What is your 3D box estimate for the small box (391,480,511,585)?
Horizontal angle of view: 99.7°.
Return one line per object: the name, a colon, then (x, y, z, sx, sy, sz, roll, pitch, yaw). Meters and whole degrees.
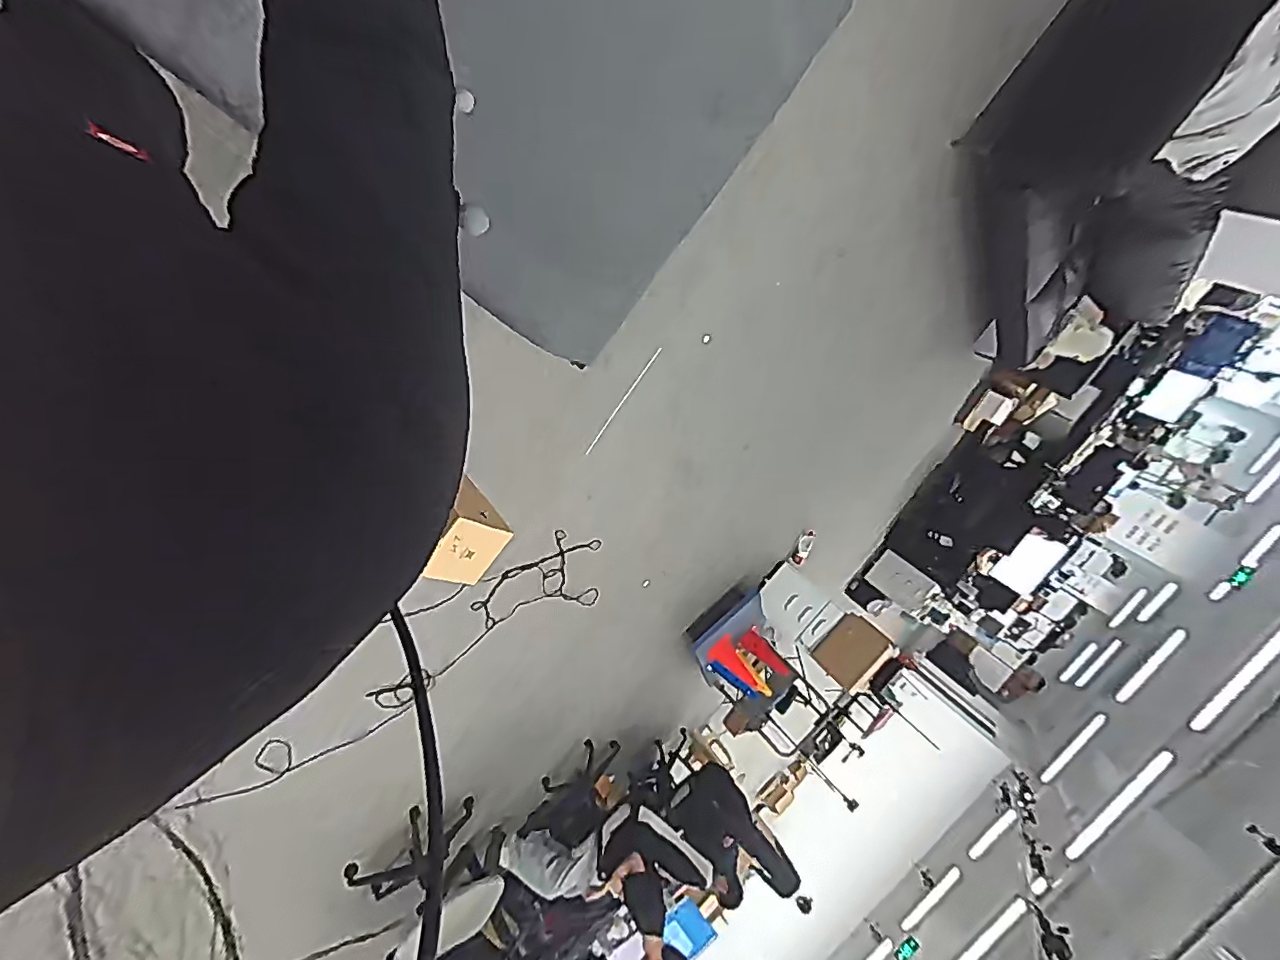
small box: (-0.447, 0.123, 1.278, 0.168, 0.176, 0.179, -52, 145, 5)
